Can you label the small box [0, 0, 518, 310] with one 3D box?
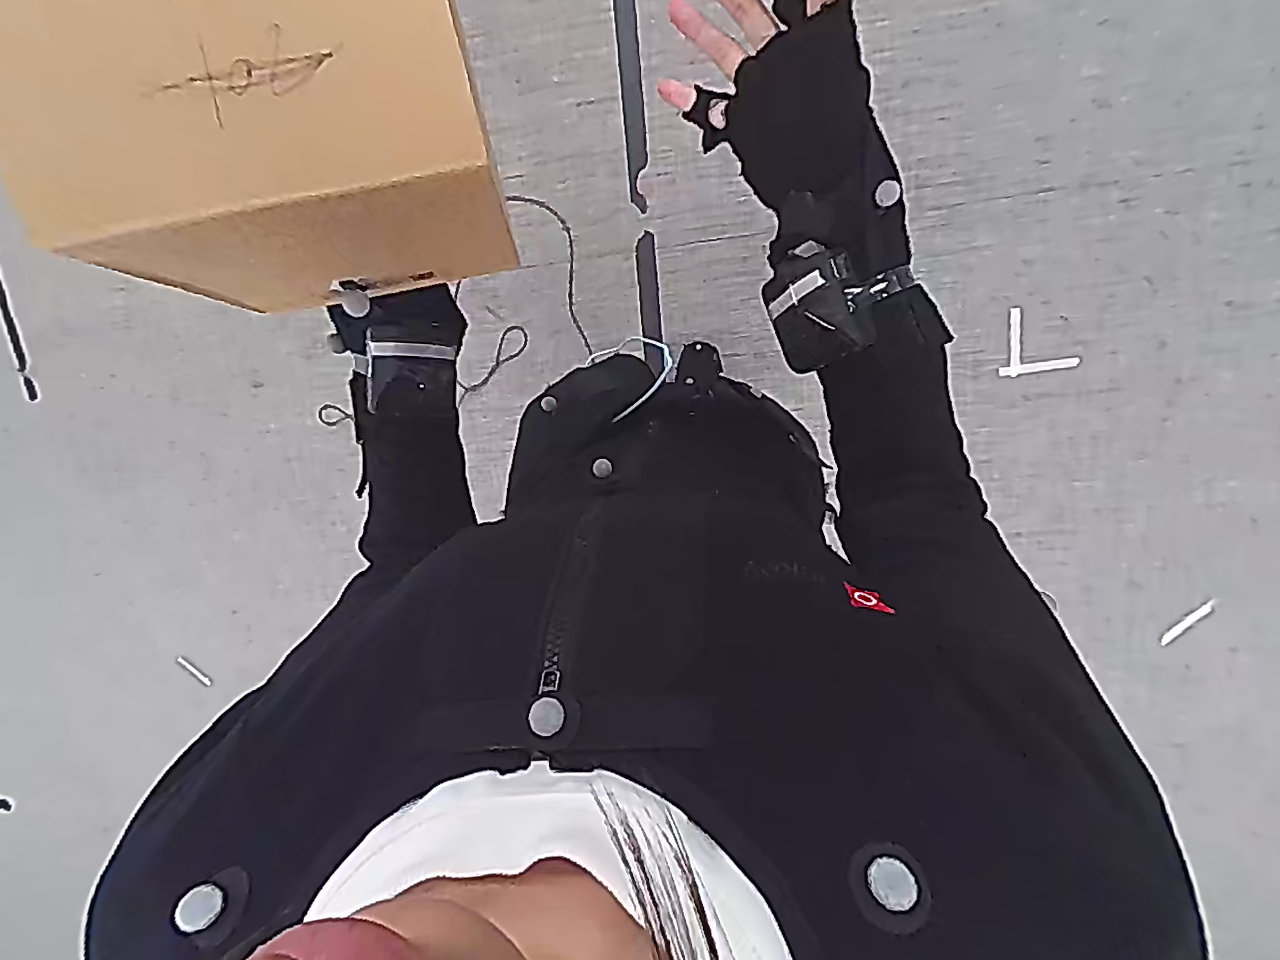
[{"bbox_3d":[-0.167,-0.202,0.278,0.168,0.176,0.179,-14,100,-6],"label":"small box"}]
